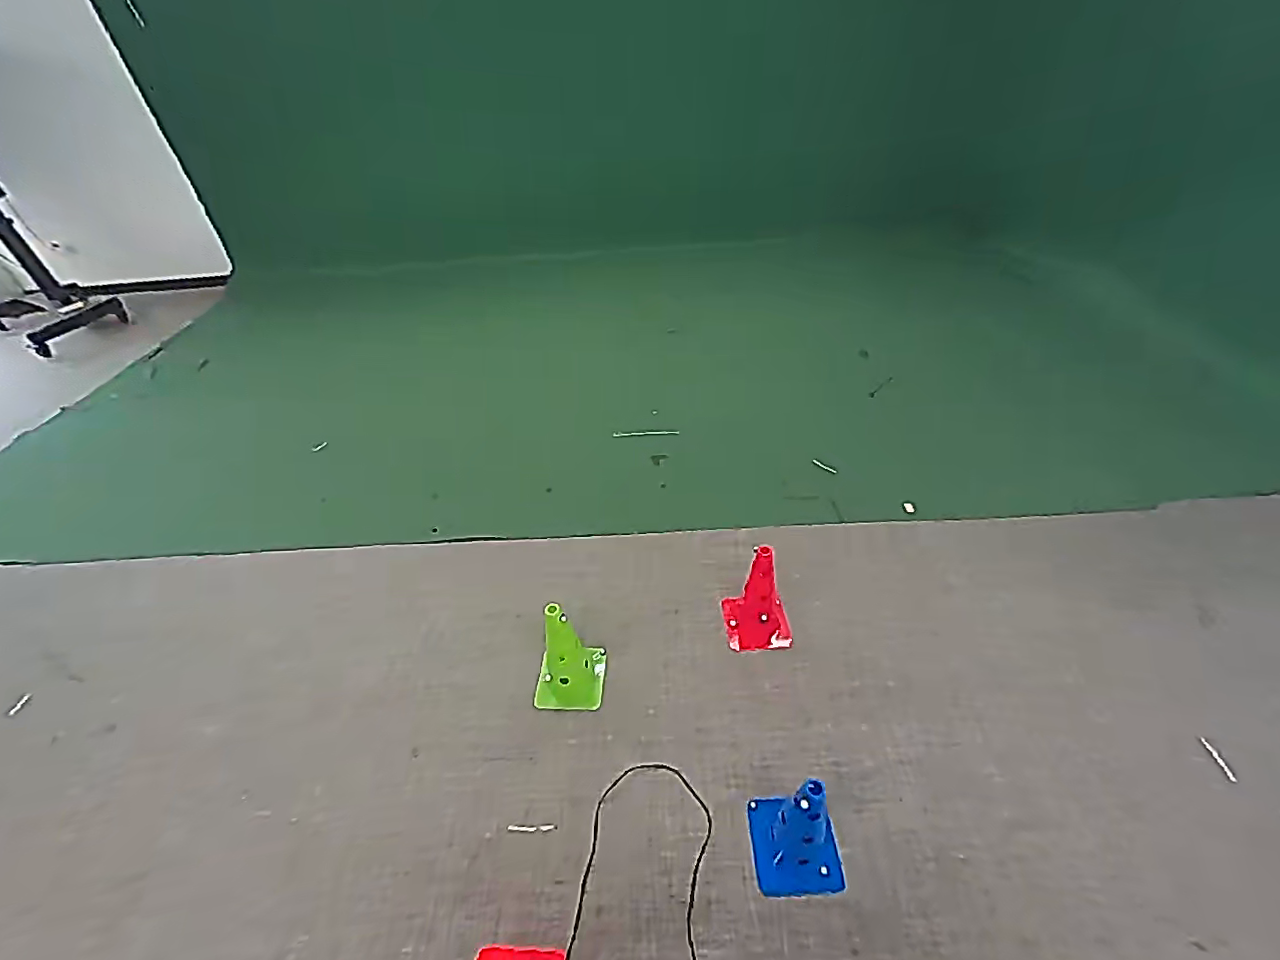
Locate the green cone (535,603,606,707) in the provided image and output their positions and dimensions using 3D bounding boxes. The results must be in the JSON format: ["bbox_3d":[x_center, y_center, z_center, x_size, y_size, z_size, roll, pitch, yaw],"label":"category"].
[{"bbox_3d":[-0.222,0.468,1.539,0.200,0.368,0.202,-2,42,4],"label":"green cone"}]

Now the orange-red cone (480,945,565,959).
[{"bbox_3d":[-0.265,0.951,0.992,0.198,0.360,0.199,1,40,5],"label":"orange-red cone"}]
